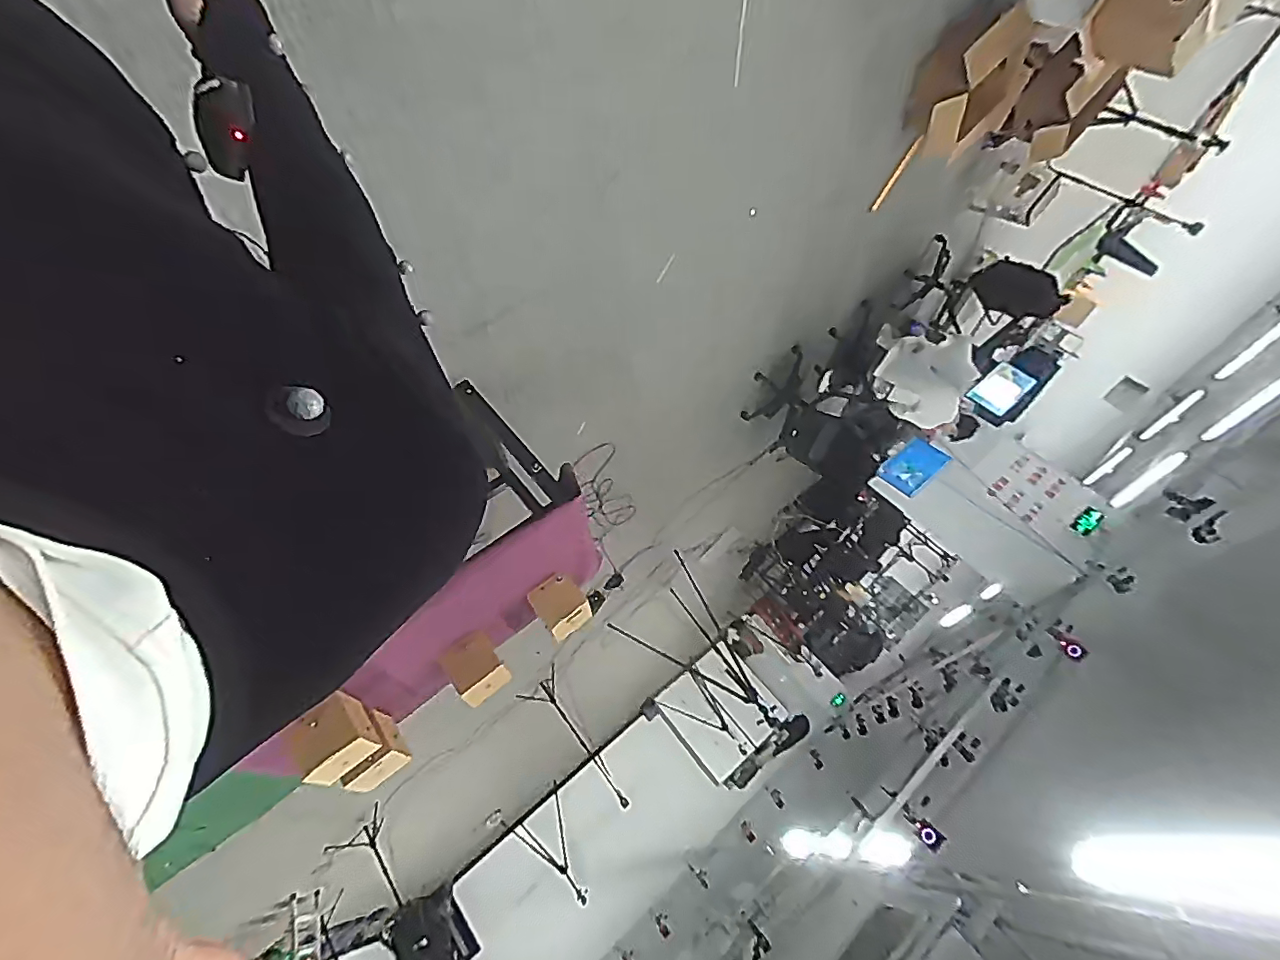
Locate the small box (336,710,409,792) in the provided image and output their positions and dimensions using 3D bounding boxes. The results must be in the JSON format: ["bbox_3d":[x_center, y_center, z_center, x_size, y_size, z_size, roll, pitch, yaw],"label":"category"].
[{"bbox_3d":[-0.894,0.883,1.764,0.168,0.176,0.179,-35,153,-20],"label":"small box"}]

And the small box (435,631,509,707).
[{"bbox_3d":[-0.586,0.659,1.895,0.168,0.176,0.179,-35,152,-21],"label":"small box"}]

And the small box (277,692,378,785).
[{"bbox_3d":[-0.890,0.738,1.546,0.168,0.176,0.179,-35,154,-22],"label":"small box"}]

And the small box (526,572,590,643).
[{"bbox_3d":[-0.308,0.471,2.021,0.168,0.176,0.179,-35,153,-19],"label":"small box"}]
